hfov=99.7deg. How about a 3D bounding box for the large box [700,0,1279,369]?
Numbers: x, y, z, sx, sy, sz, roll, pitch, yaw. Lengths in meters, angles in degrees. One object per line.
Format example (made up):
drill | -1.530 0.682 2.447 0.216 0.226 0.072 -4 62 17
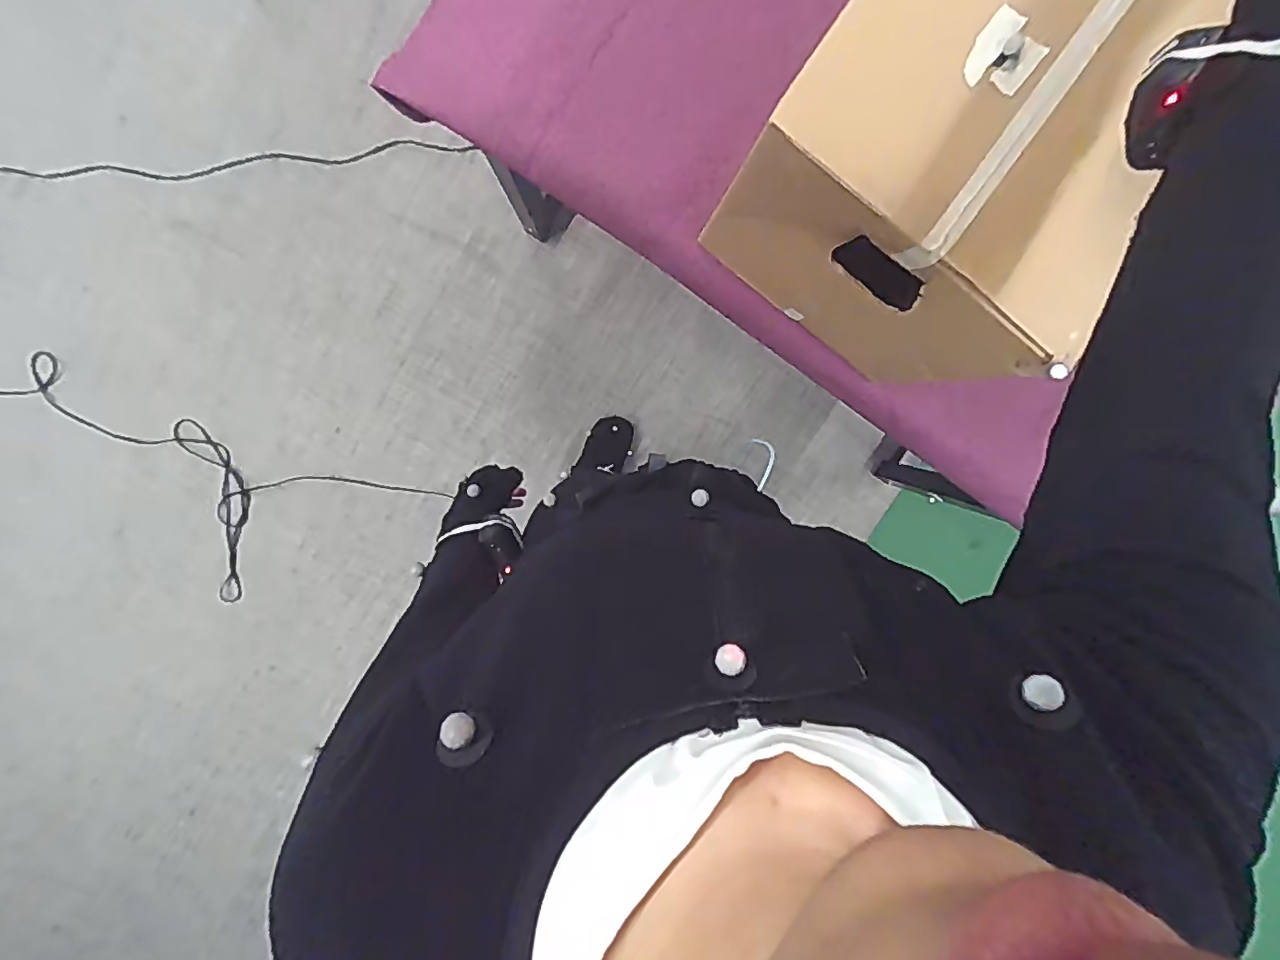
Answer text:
large box | 0.319 -0.369 0.561 0.320 0.320 0.408 35 96 -8
